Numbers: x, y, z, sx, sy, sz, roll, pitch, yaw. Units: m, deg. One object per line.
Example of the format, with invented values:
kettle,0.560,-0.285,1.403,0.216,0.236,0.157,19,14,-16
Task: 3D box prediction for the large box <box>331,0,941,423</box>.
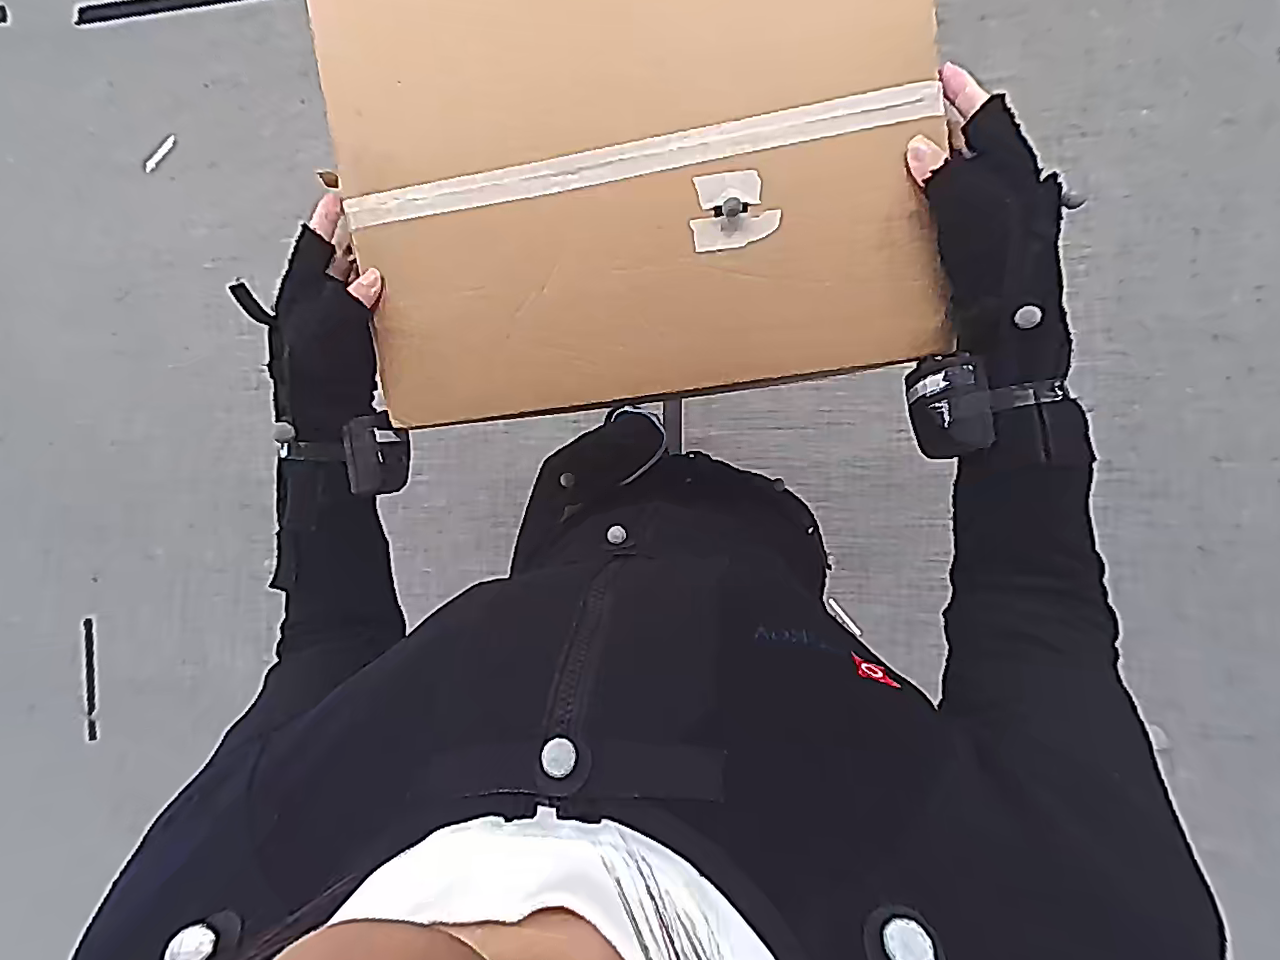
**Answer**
large box,0.006,-0.241,0.527,0.408,0.320,0.320,-7,98,6
